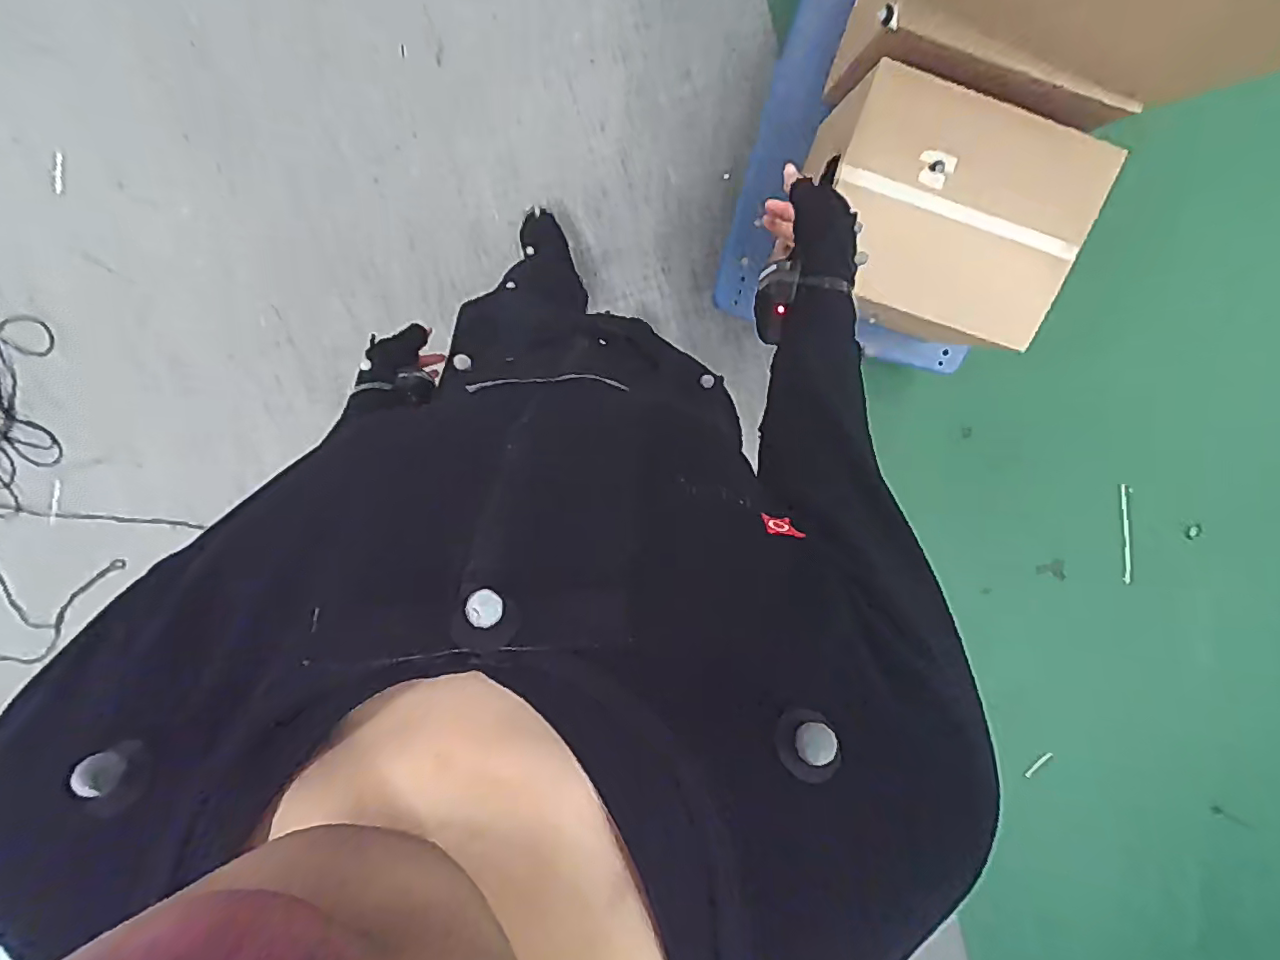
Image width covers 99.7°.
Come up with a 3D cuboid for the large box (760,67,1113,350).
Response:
[{"bbox_3d":[0.482,-0.453,0.980,0.408,0.320,0.320,17,107,-3],"label":"large box"}]
